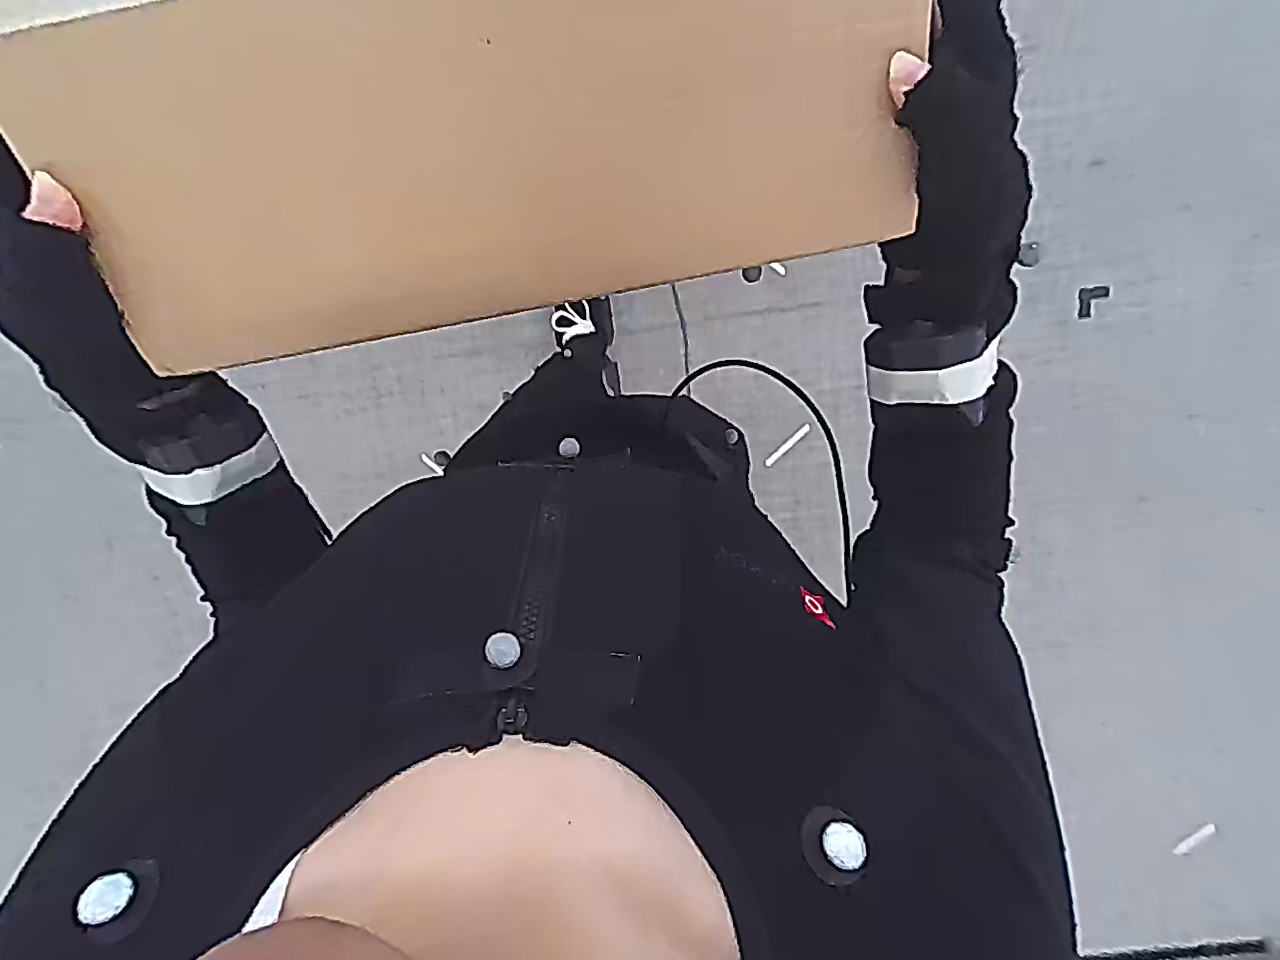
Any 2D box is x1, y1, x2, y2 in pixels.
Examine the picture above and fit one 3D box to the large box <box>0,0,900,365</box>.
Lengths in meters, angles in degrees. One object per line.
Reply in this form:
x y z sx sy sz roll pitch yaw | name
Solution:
-0.095 -0.302 0.351 0.408 0.320 0.320 -10 117 3 | large box
